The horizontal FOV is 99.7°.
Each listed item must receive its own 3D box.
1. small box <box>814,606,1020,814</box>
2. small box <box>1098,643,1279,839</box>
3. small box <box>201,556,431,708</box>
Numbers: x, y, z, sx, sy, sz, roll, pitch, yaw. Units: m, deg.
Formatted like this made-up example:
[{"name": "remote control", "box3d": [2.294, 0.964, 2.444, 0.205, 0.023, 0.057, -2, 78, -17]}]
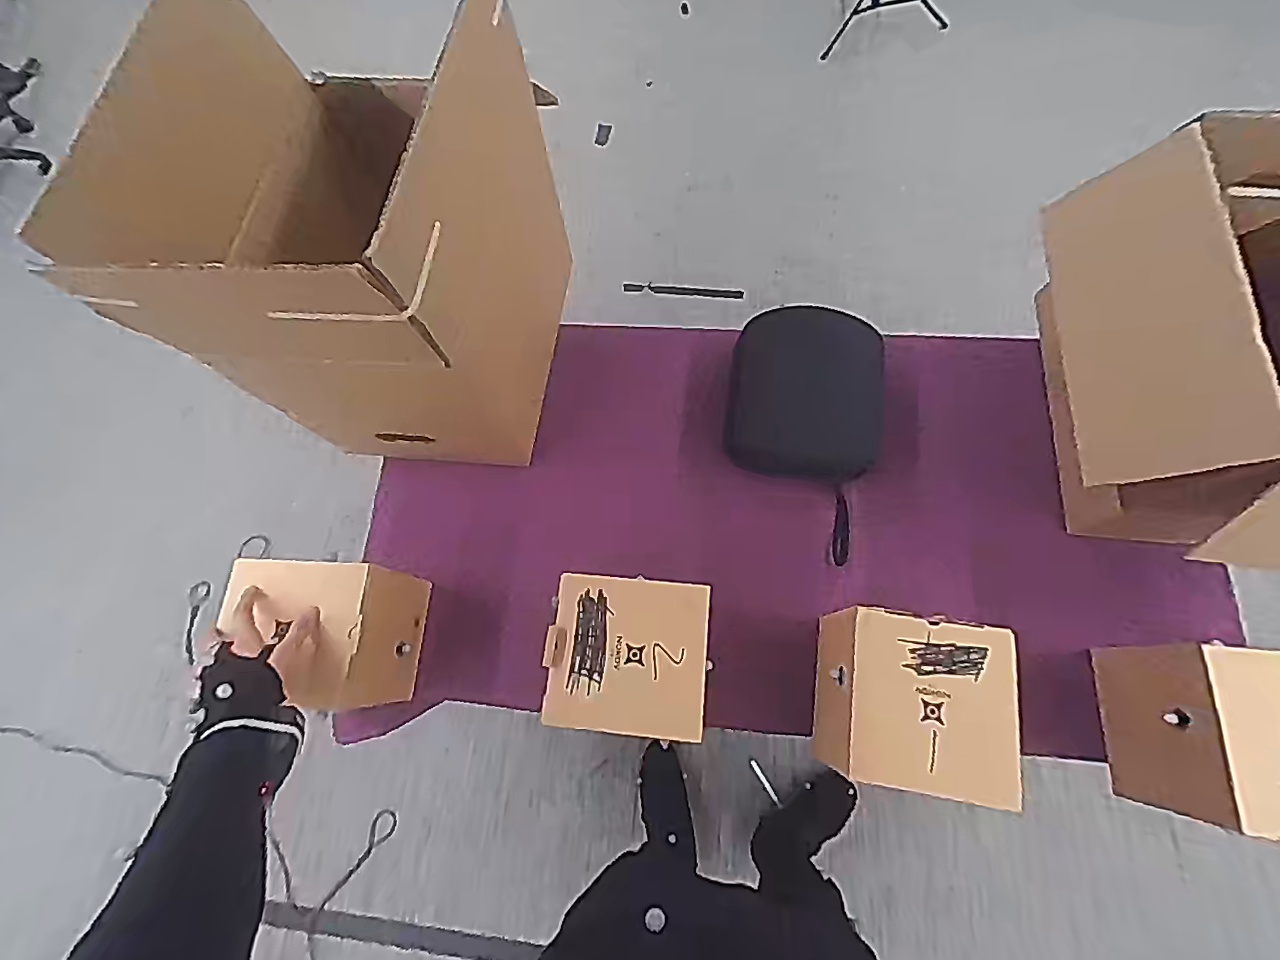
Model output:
[{"name": "small box", "box3d": [0.309, 0.257, 0.635, 0.168, 0.176, 0.179, 8, 73, 7]}, {"name": "small box", "box3d": [0.656, 0.283, 0.598, 0.168, 0.176, 0.179, 4, 72, 7]}, {"name": "small box", "box3d": [-0.403, 0.200, 0.707, 0.179, 0.176, 0.168, 2, 71, 4]}]
